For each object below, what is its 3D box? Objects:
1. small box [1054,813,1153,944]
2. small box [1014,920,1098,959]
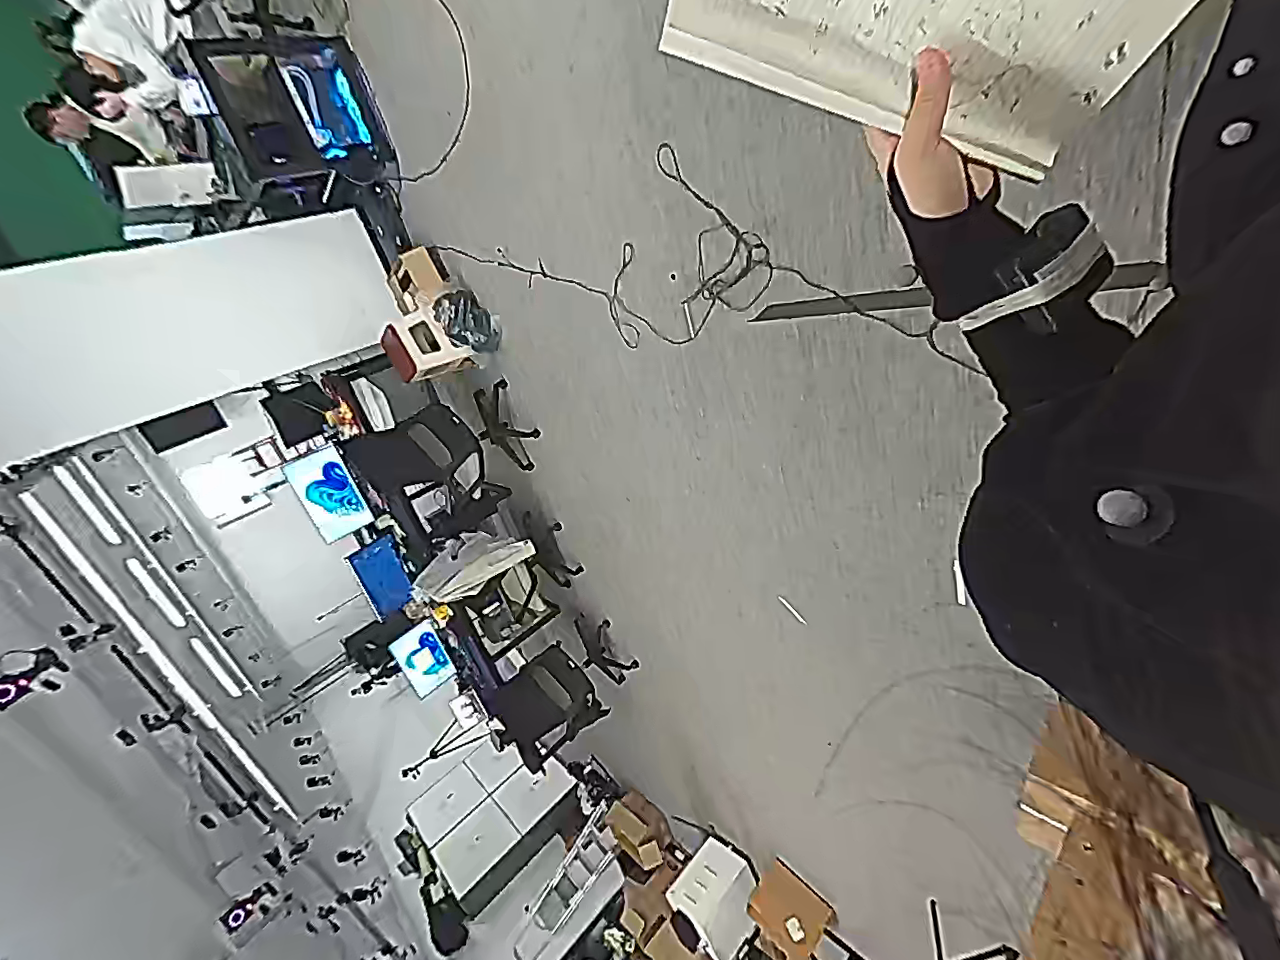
[{"bbox_3d":[1.182,1.003,1.380,0.168,0.176,0.179,8,125,50],"label":"small box"},{"bbox_3d":[0.945,1.158,1.212,0.168,0.176,0.179,11,126,48],"label":"small box"}]
